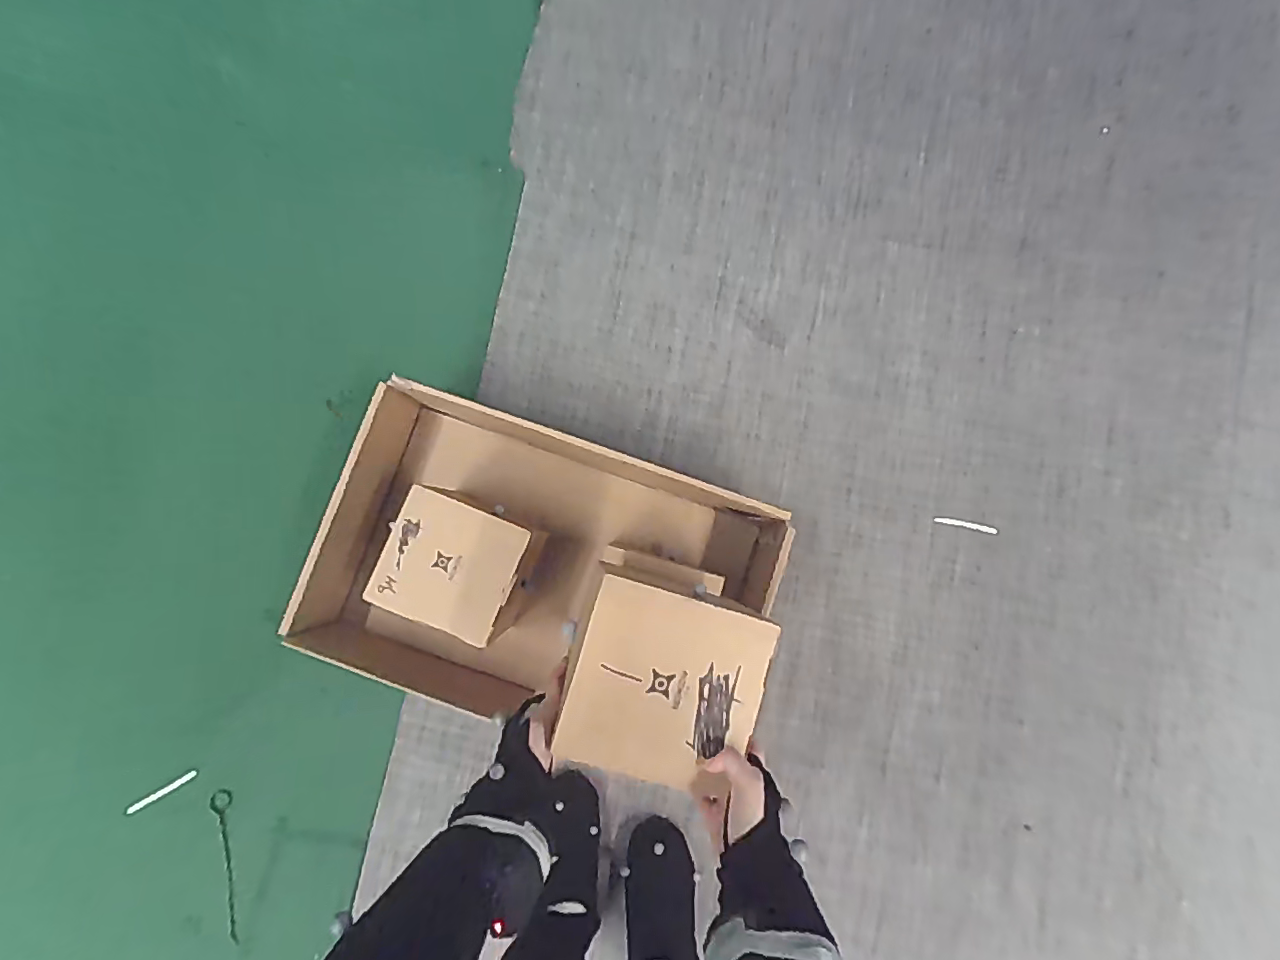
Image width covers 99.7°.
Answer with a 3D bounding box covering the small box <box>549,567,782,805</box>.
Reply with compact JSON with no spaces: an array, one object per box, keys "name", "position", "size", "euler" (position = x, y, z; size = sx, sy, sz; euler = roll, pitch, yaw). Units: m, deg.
[{"name":"small box","position":[0.017,0.195,0.563],"size":[0.179,0.176,0.168],"euler":[18,83,-5]}]
